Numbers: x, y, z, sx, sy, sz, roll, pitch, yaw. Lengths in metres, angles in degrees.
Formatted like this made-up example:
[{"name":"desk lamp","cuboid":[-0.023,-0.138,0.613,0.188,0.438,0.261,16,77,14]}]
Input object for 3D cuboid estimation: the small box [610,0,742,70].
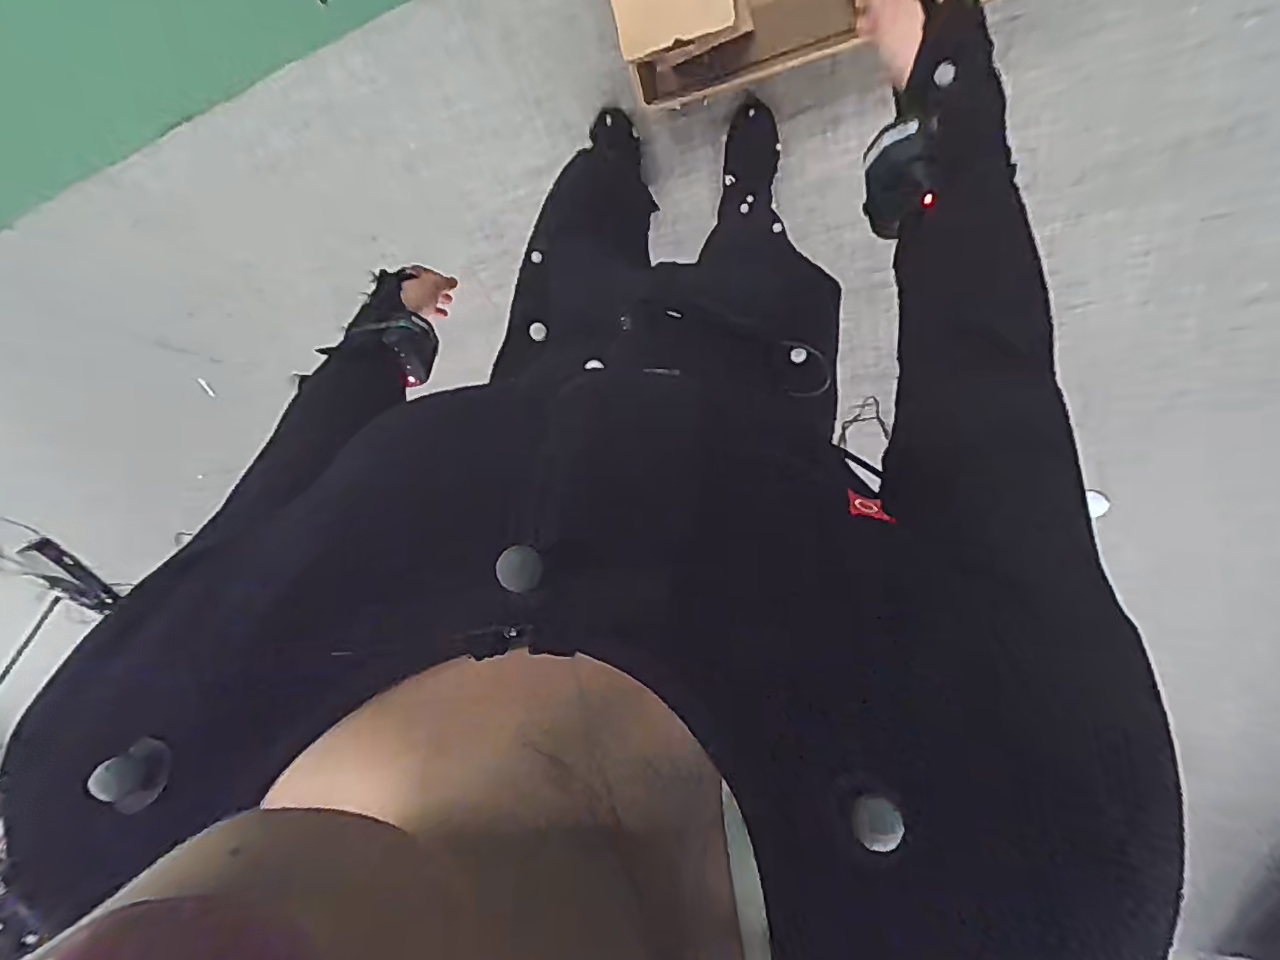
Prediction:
[{"name":"small box","cuboid":[0.049,-0.716,0.765,0.168,0.176,0.179,-5,128,18]}]
